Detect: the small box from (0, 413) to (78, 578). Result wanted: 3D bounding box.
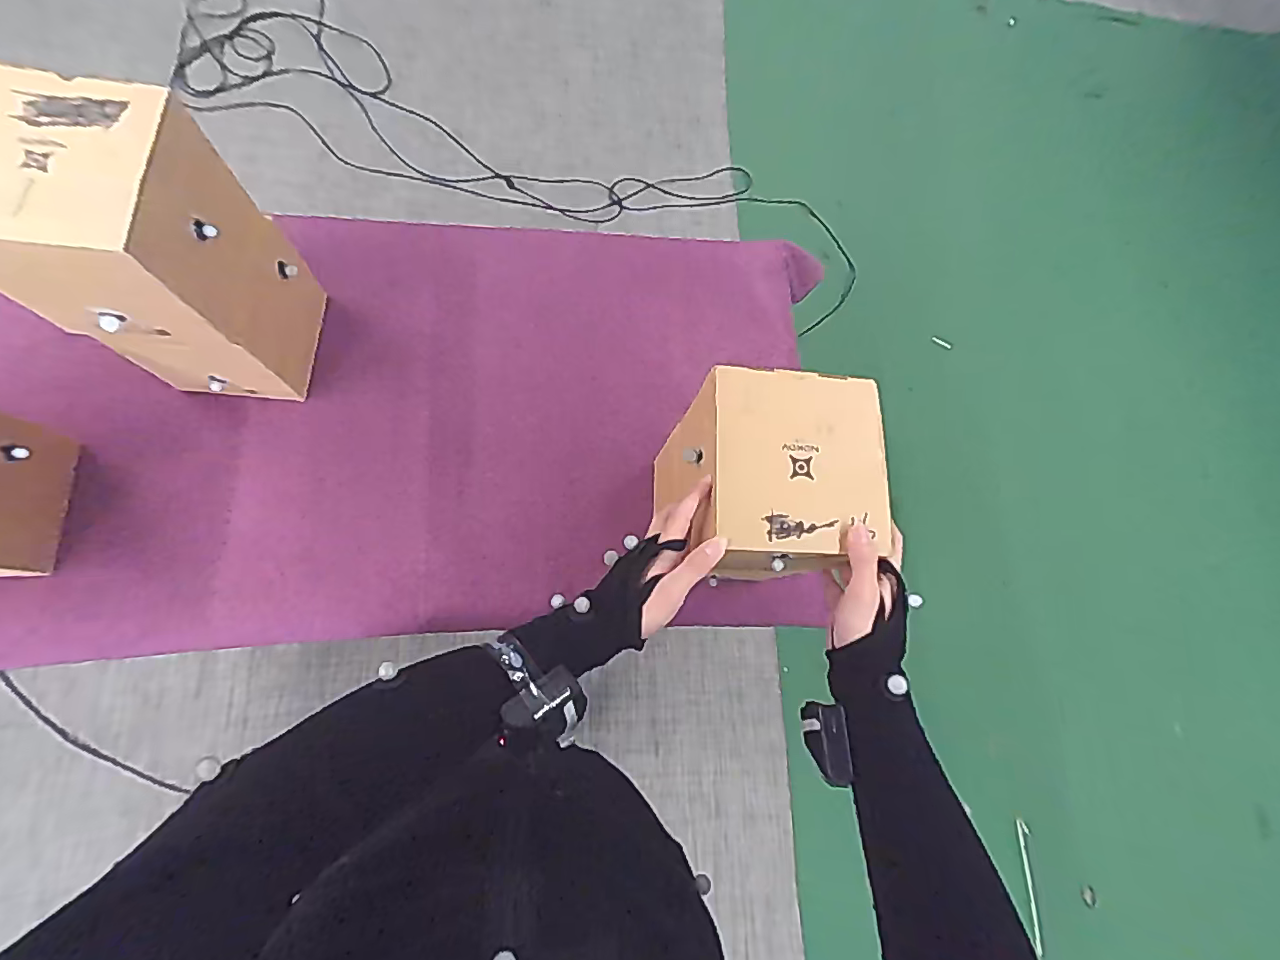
[{"bbox_3d":[-0.792,0.012,0.596,0.168,0.176,0.179,0,75,-9],"label":"small box"}]

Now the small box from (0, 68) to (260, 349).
[{"bbox_3d":[-0.517,-0.255,0.539,0.168,0.176,0.179,3,76,-8],"label":"small box"}]

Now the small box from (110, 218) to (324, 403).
[{"bbox_3d":[-0.537,-0.219,0.698,0.168,0.176,0.179,5,75,-8],"label":"small box"}]

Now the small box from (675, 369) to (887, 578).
[{"bbox_3d":[0.133,0.005,0.573,0.168,0.176,0.179,4,75,-7],"label":"small box"}]
